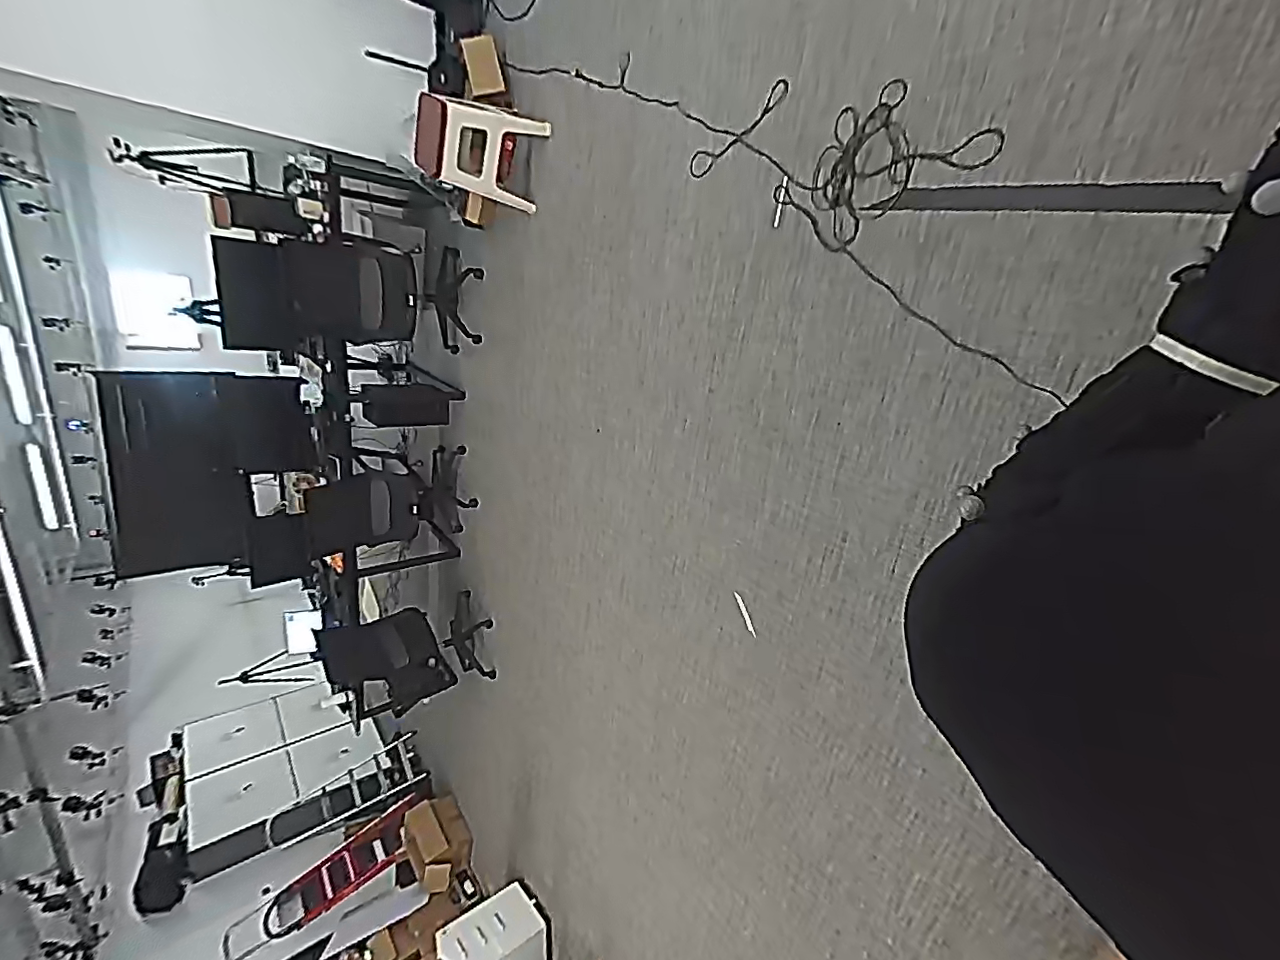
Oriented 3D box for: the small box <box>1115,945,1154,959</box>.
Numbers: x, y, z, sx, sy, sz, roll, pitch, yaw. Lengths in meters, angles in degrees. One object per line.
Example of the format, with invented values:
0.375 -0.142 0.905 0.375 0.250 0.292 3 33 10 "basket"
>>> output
1.032 1.106 1.087 0.168 0.176 0.179 31 121 44 "small box"
